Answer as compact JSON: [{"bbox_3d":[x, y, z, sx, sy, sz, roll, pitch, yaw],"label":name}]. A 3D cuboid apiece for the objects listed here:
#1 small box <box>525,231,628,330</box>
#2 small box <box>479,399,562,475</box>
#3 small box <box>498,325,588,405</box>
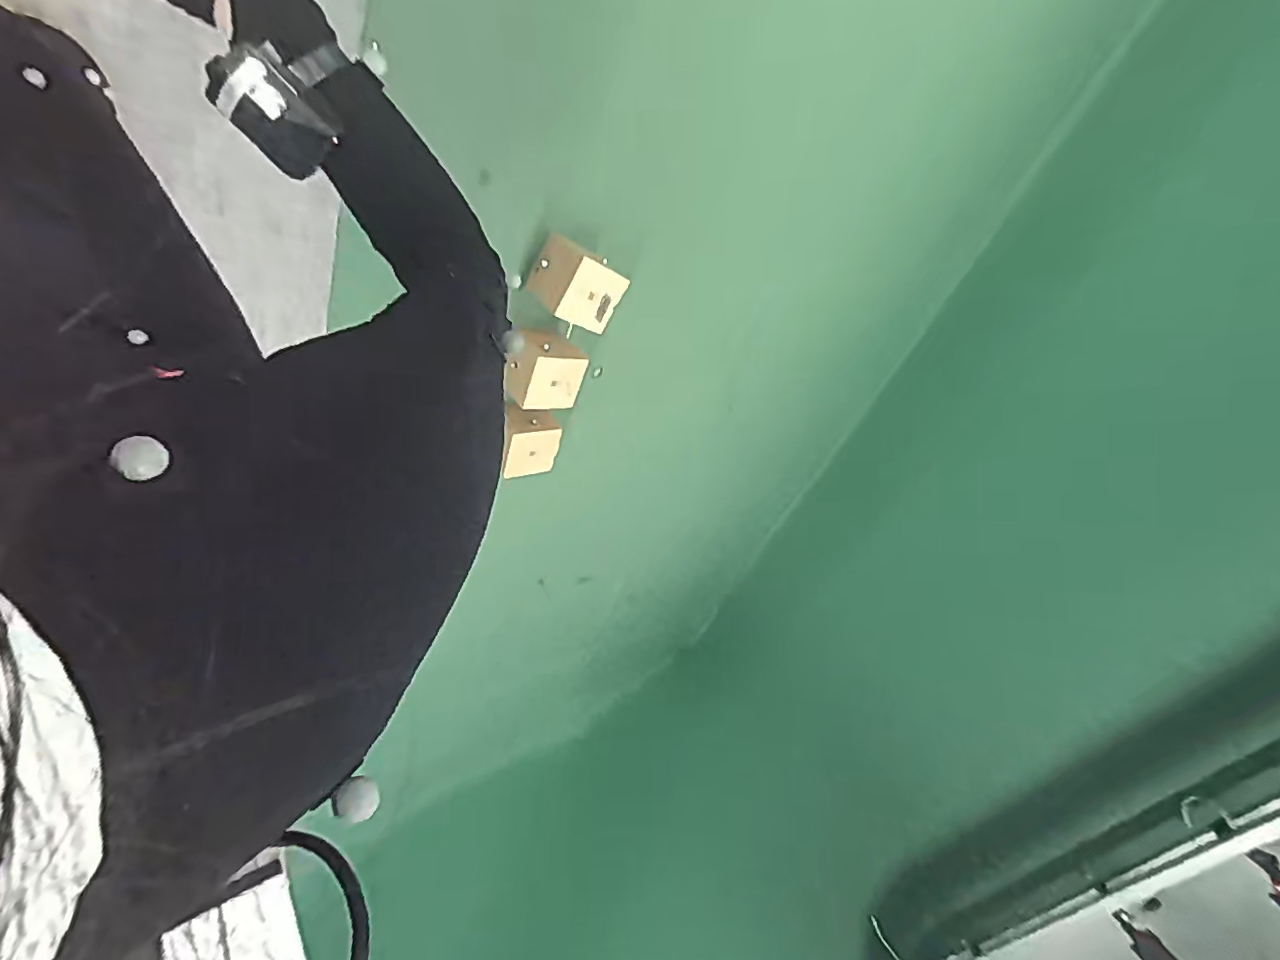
[{"bbox_3d":[-0.172,-0.534,1.443,0.179,0.176,0.168,6,123,-51],"label":"small box"},{"bbox_3d":[-0.376,-0.142,1.690,0.179,0.176,0.168,-12,137,-41],"label":"small box"},{"bbox_3d":[-0.286,-0.332,1.558,0.179,0.176,0.168,-9,136,-44],"label":"small box"}]
